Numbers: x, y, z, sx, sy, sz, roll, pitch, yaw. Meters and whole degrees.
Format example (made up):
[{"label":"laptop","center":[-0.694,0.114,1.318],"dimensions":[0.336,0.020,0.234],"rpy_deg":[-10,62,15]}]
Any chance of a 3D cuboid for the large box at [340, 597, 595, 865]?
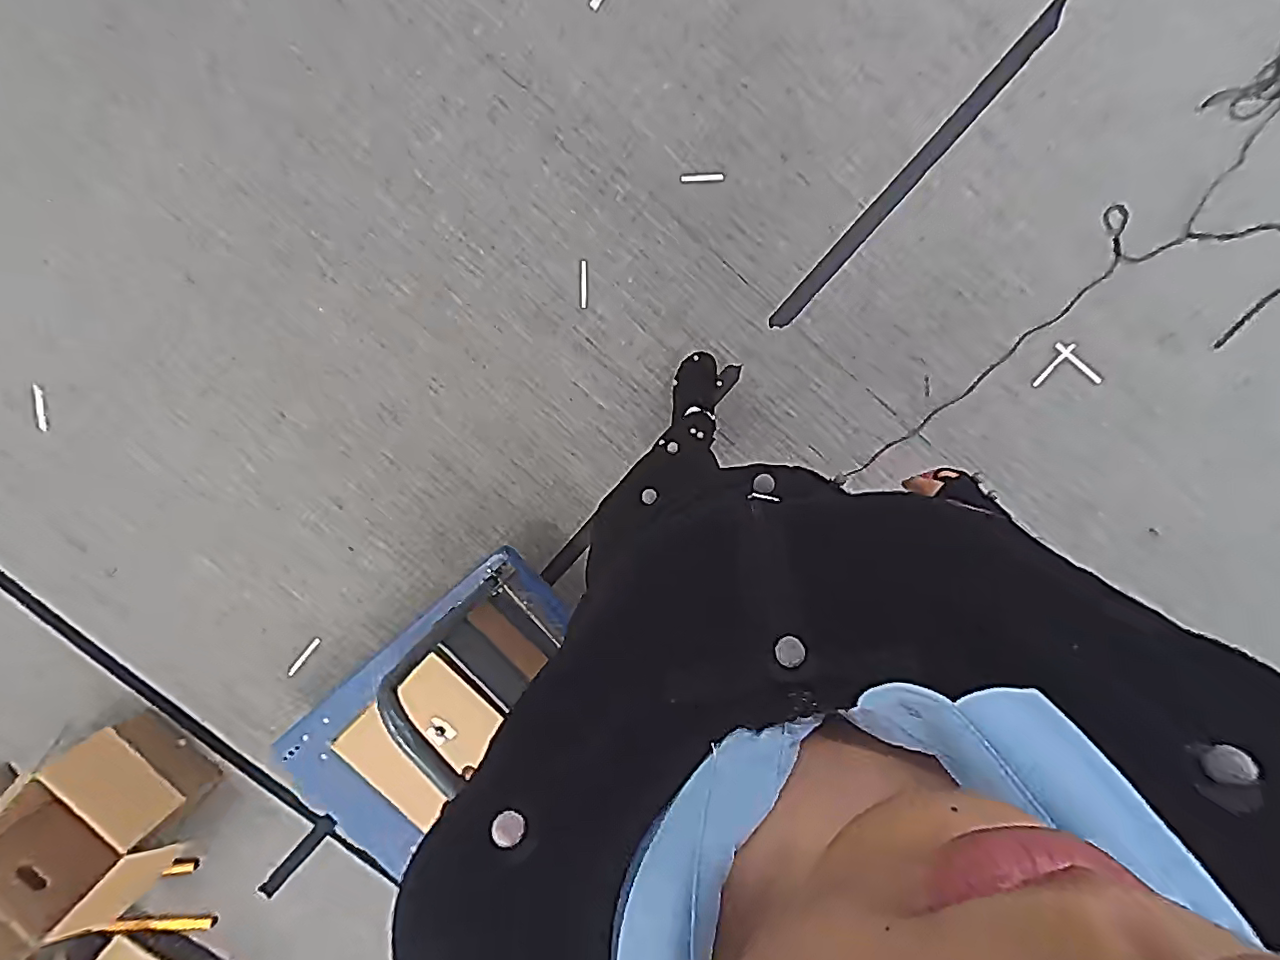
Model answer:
[{"label":"large box","center":[-0.365,0.552,1.252],"dimensions":[0.408,0.320,0.320],"rpy_deg":[45,97,-3]}]
